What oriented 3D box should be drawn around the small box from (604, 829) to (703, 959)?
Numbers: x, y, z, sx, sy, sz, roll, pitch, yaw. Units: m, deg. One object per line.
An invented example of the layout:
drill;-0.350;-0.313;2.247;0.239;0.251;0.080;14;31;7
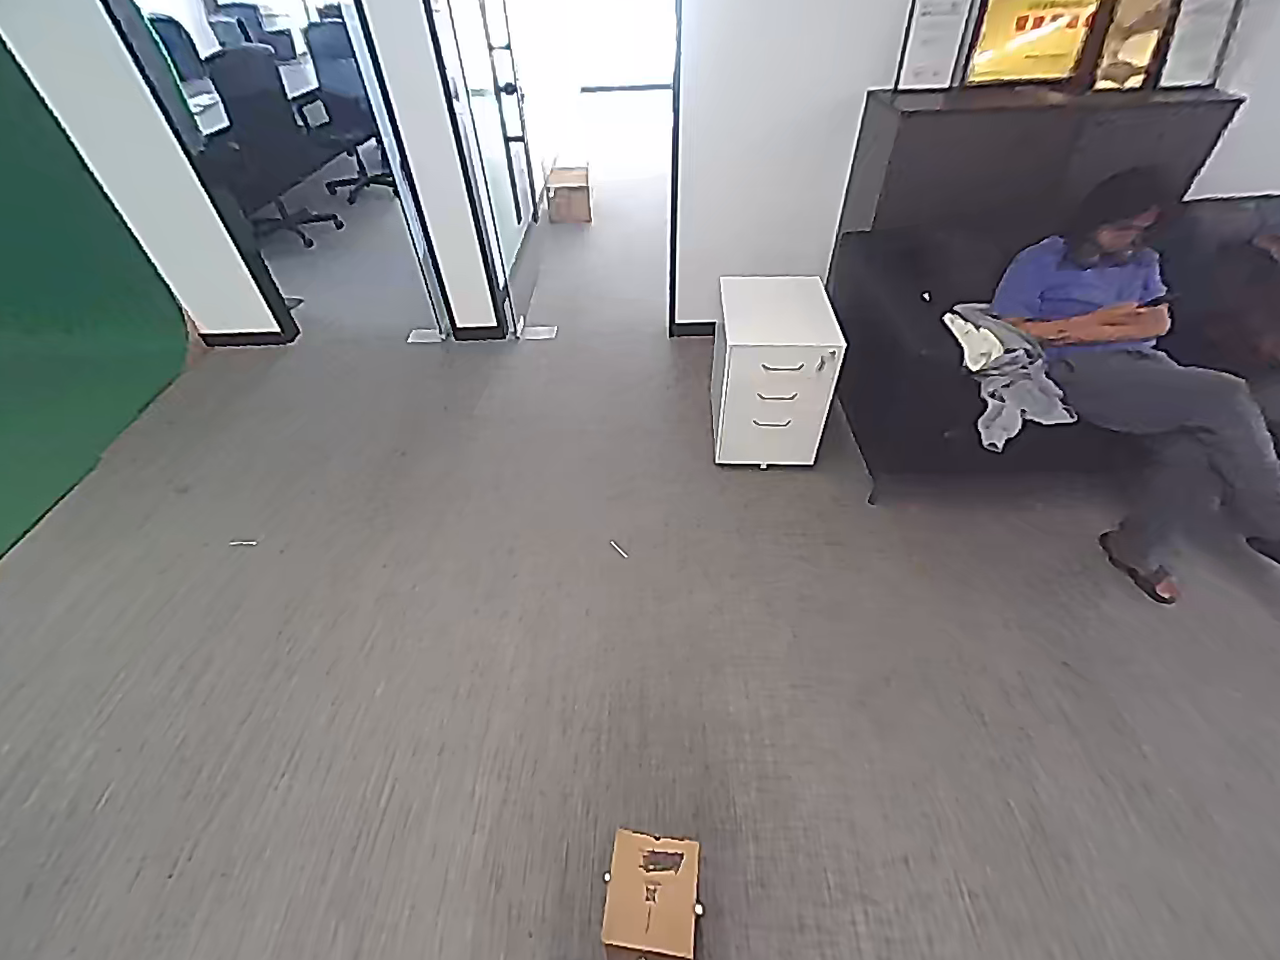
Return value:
small box;0.029;0.817;1.056;0.168;0.176;0.179;5;45;7
